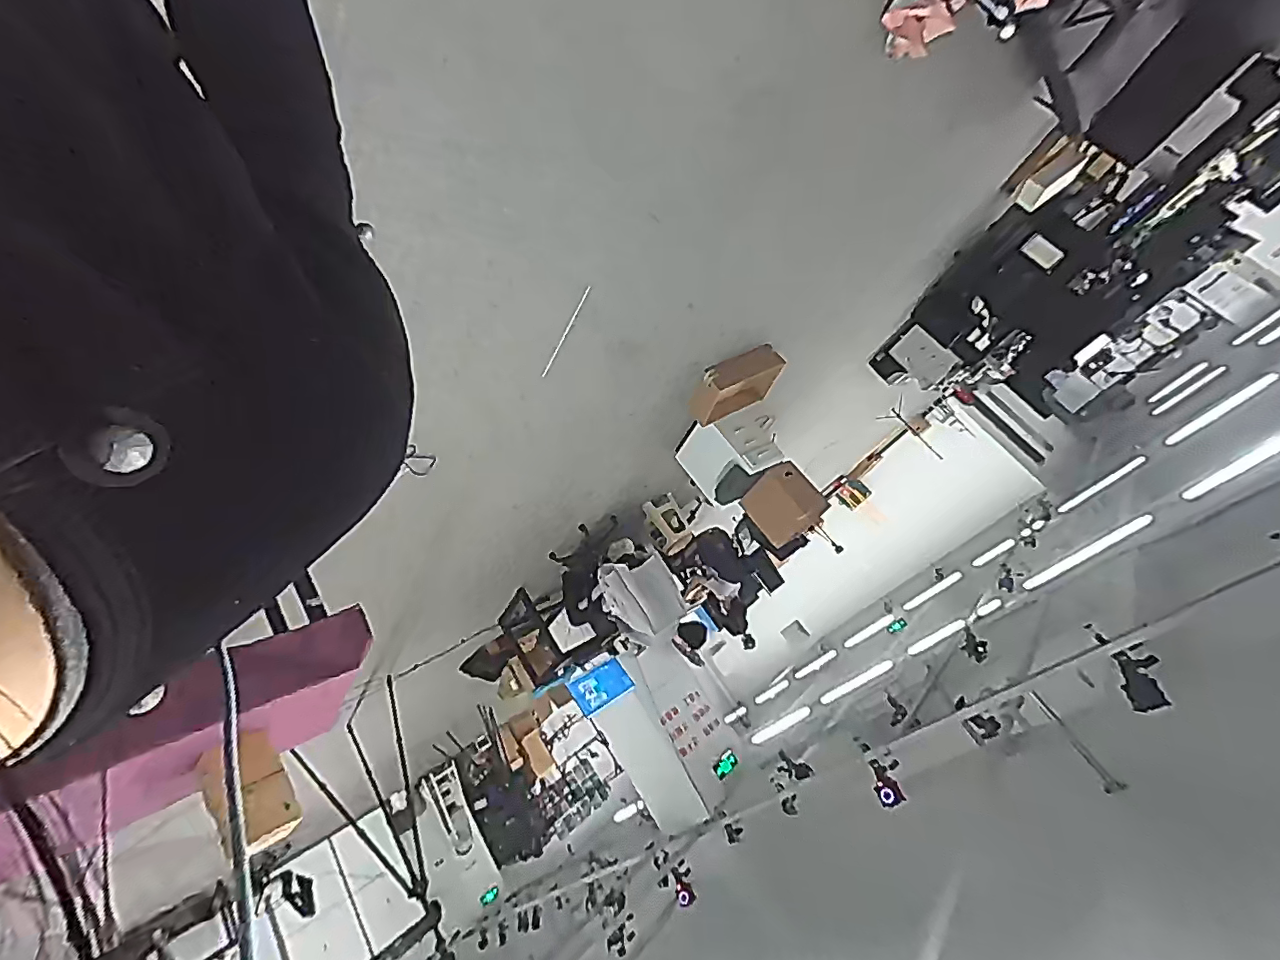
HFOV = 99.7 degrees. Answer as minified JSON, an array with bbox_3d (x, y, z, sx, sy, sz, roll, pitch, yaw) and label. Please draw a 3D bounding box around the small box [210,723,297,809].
[{"bbox_3d":[-1.297,0.951,1.813,0.168,0.176,0.179,-47,157,26],"label":"small box"}]
